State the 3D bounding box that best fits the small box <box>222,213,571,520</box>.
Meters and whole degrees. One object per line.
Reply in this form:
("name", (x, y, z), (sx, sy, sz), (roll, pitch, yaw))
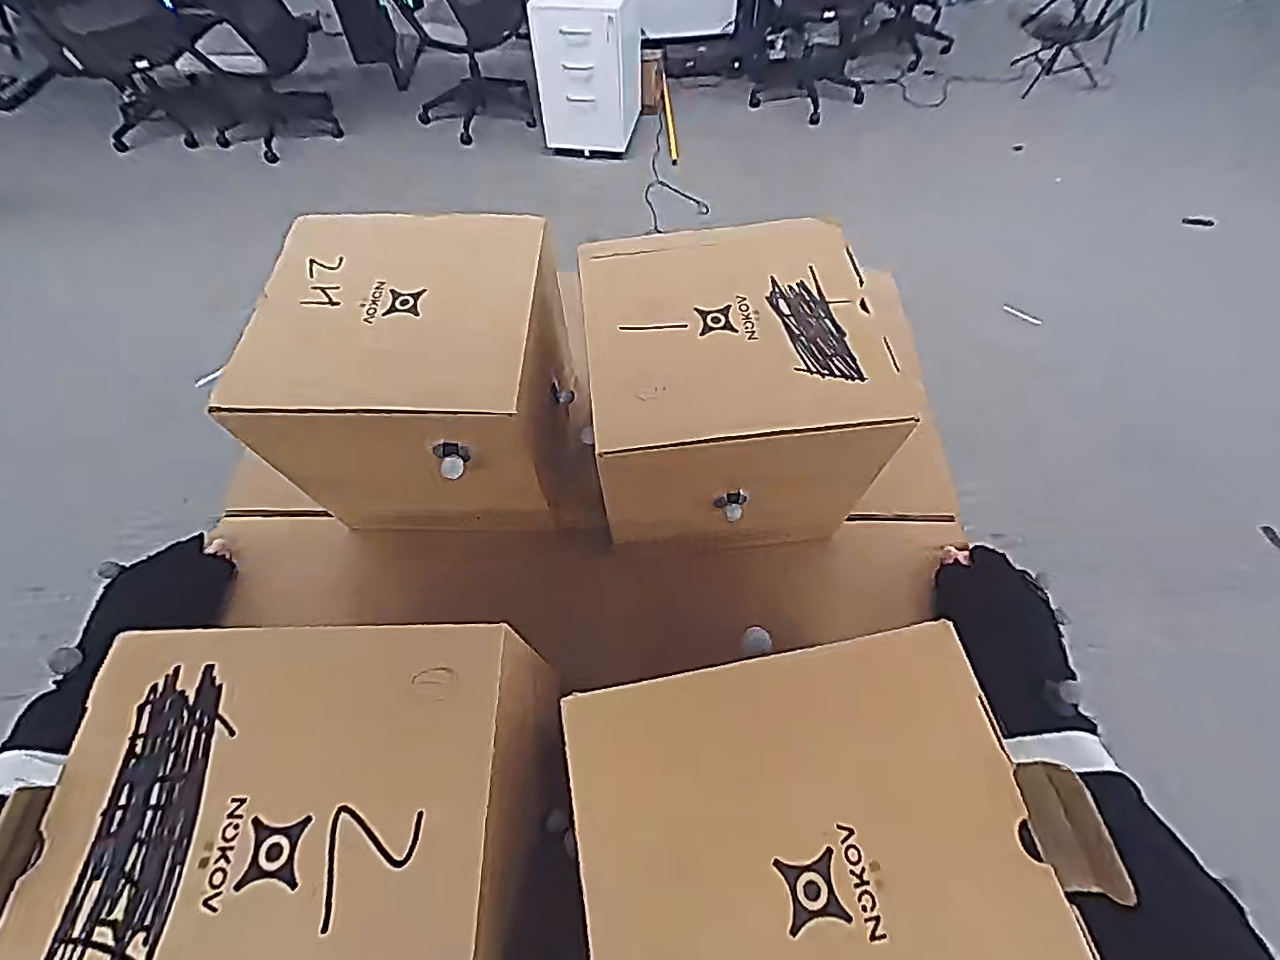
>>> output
("small box", (-0.153, -0.077, 0.419), (0.179, 0.176, 0.168), (1, 62, 2))
